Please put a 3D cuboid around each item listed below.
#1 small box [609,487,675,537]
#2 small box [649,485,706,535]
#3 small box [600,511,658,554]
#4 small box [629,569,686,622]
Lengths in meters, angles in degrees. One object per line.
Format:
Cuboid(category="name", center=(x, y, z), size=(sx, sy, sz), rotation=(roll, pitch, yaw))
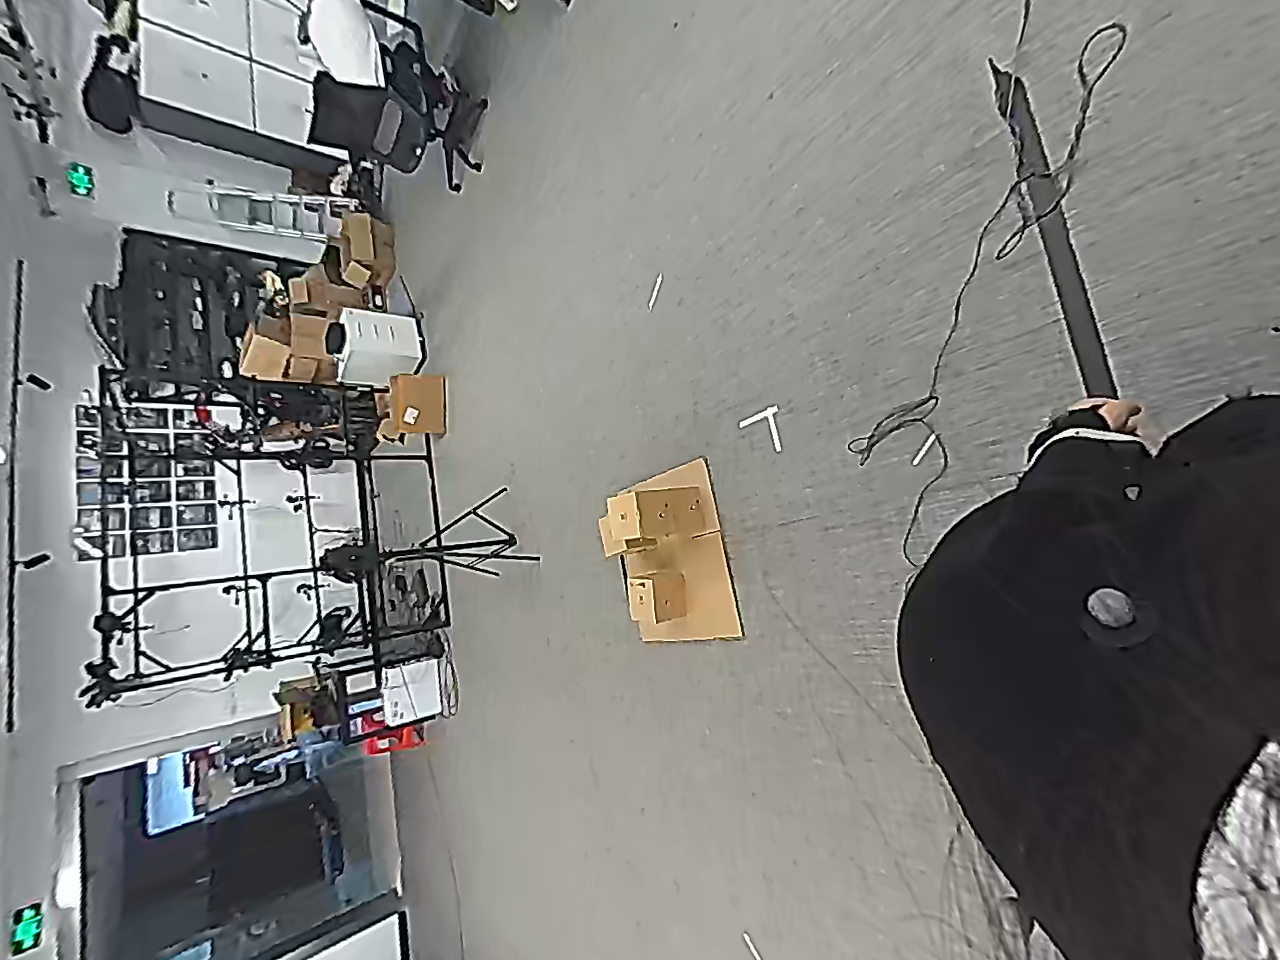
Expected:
Cuboid(category="small box", center=(0.008, 0.122, 2.032), size=(0.179, 0.176, 0.168), rotation=(-16, 80, 49))
Cuboid(category="small box", center=(0.134, 0.118, 2.136), size=(0.179, 0.176, 0.168), rotation=(-21, 77, 48))
Cuboid(category="small box", center=(-0.048, 0.215, 2.366), size=(0.168, 0.176, 0.179), rotation=(-29, 69, 49))
Cuboid(category="small box", center=(0.076, 0.469, 2.223), size=(0.168, 0.176, 0.179), rotation=(-8, 87, 50))
